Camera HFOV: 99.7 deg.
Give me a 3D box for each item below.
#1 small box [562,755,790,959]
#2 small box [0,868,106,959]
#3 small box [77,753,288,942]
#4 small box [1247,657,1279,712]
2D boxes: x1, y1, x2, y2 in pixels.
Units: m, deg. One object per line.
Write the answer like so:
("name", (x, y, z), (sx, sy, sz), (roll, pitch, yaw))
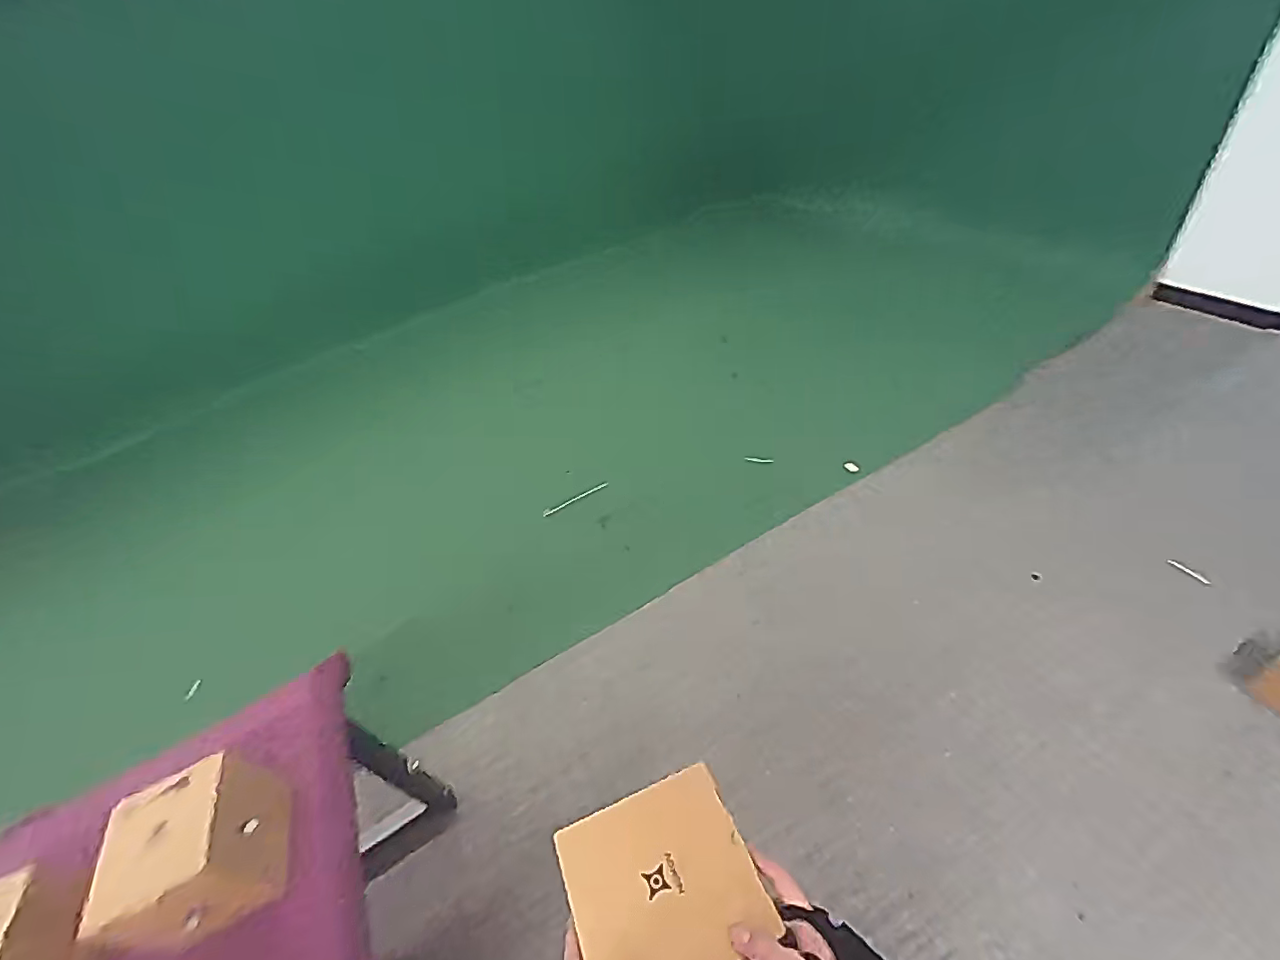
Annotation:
("small box", (0.036, 0.431, 0.557), (0.179, 0.176, 0.168), (-17, 38, -13))
("small box", (-0.900, 0.686, 0.755), (0.179, 0.176, 0.168), (-24, 44, -9))
("small box", (-0.669, 0.558, 0.820), (0.168, 0.176, 0.179), (-25, 45, -9))
("small box", (1.645, 0.496, 1.297), (0.168, 0.176, 0.179), (-28, 45, -13))
